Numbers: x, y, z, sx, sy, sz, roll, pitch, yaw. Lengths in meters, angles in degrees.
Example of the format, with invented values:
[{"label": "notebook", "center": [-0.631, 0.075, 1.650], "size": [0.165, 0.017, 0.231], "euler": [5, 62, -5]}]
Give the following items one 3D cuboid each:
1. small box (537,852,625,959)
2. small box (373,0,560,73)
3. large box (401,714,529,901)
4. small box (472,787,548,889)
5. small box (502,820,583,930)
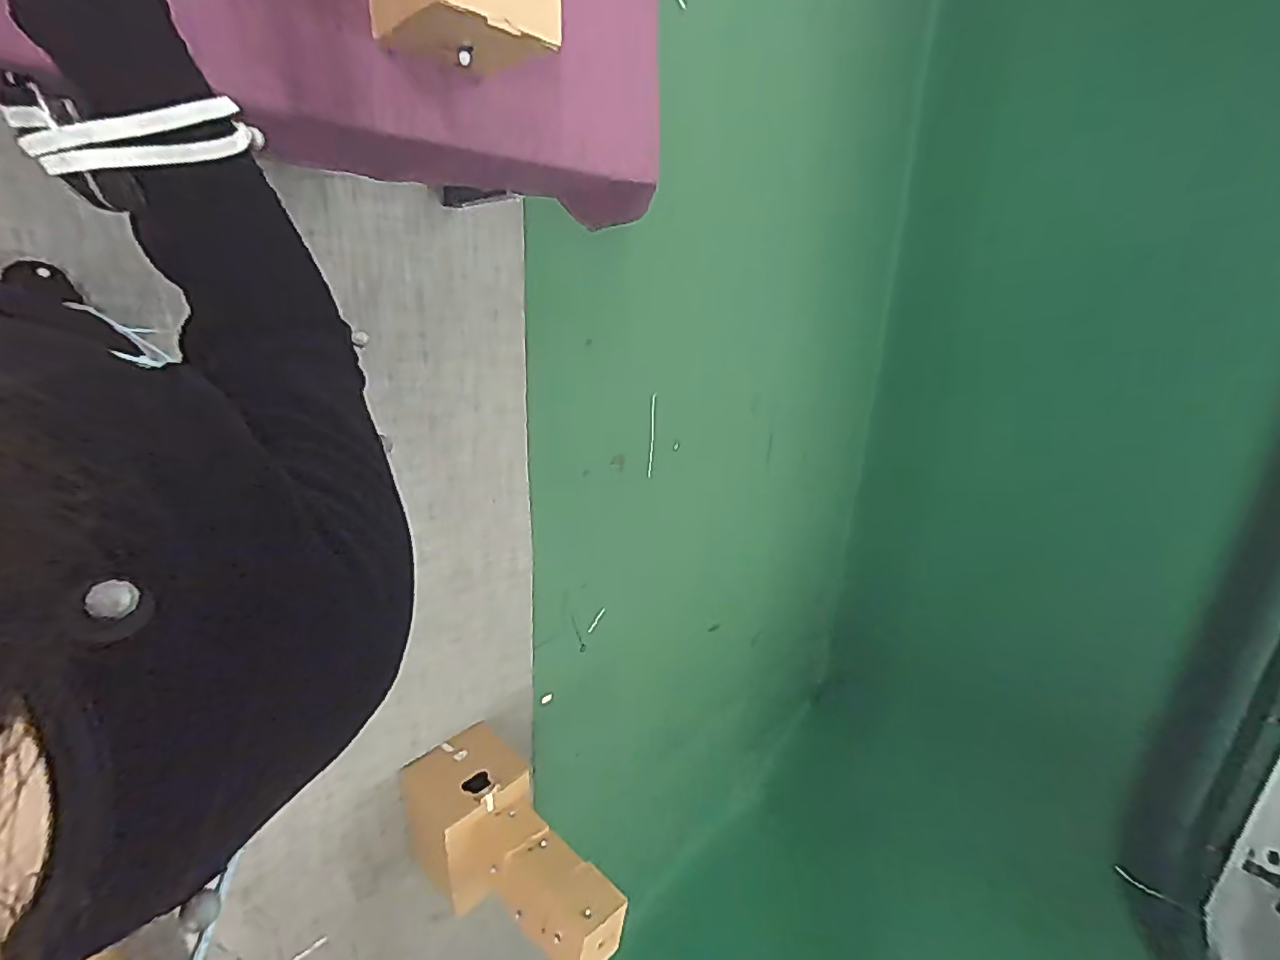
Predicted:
[{"label": "small box", "center": [-0.173, 1.229, 1.551], "size": [0.179, 0.176, 0.168], "euler": [2, 103, -51]}, {"label": "small box", "center": [-0.213, -0.624, 0.648], "size": [0.168, 0.176, 0.179], "euler": [-19, 118, -44]}, {"label": "large box", "center": [-0.607, 1.134, 1.911], "size": [0.320, 0.320, 0.408], "euler": [-18, 119, -44]}, {"label": "small box", "center": [-0.423, 1.146, 1.745], "size": [0.168, 0.176, 0.179], "euler": [-4, 107, -49]}, {"label": "small box", "center": [-0.300, 1.194, 1.649], "size": [0.168, 0.176, 0.179], "euler": [1, 103, -51]}]
